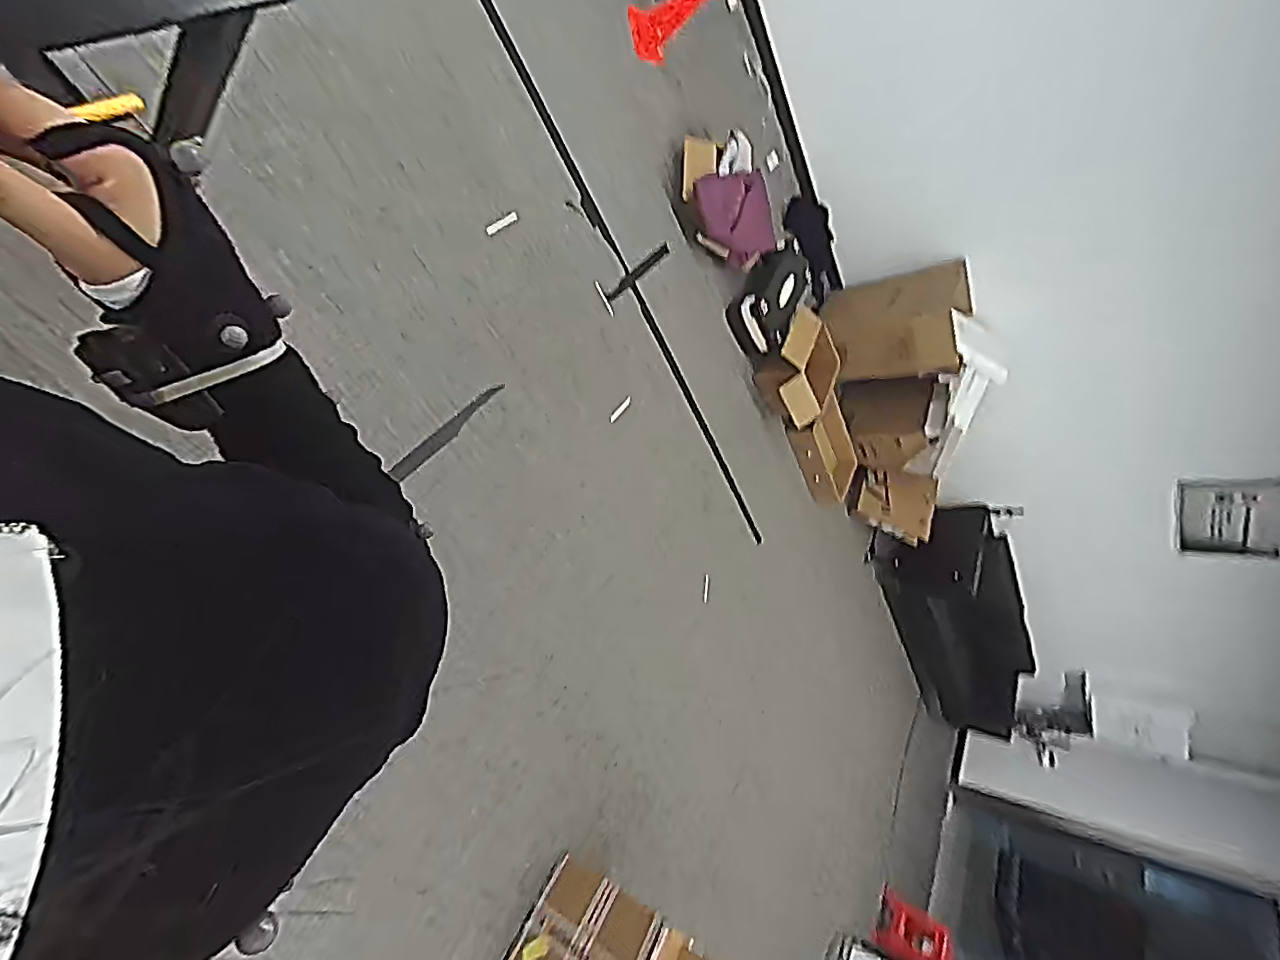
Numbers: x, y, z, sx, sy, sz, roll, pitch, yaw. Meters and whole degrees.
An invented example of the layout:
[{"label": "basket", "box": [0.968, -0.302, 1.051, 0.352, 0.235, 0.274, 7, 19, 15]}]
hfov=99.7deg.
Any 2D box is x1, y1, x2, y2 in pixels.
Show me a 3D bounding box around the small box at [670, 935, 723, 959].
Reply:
[{"label": "small box", "box": [0.189, 1.541, 1.649, 0.179, 0.176, 0.168, 56, 49, -28]}]
